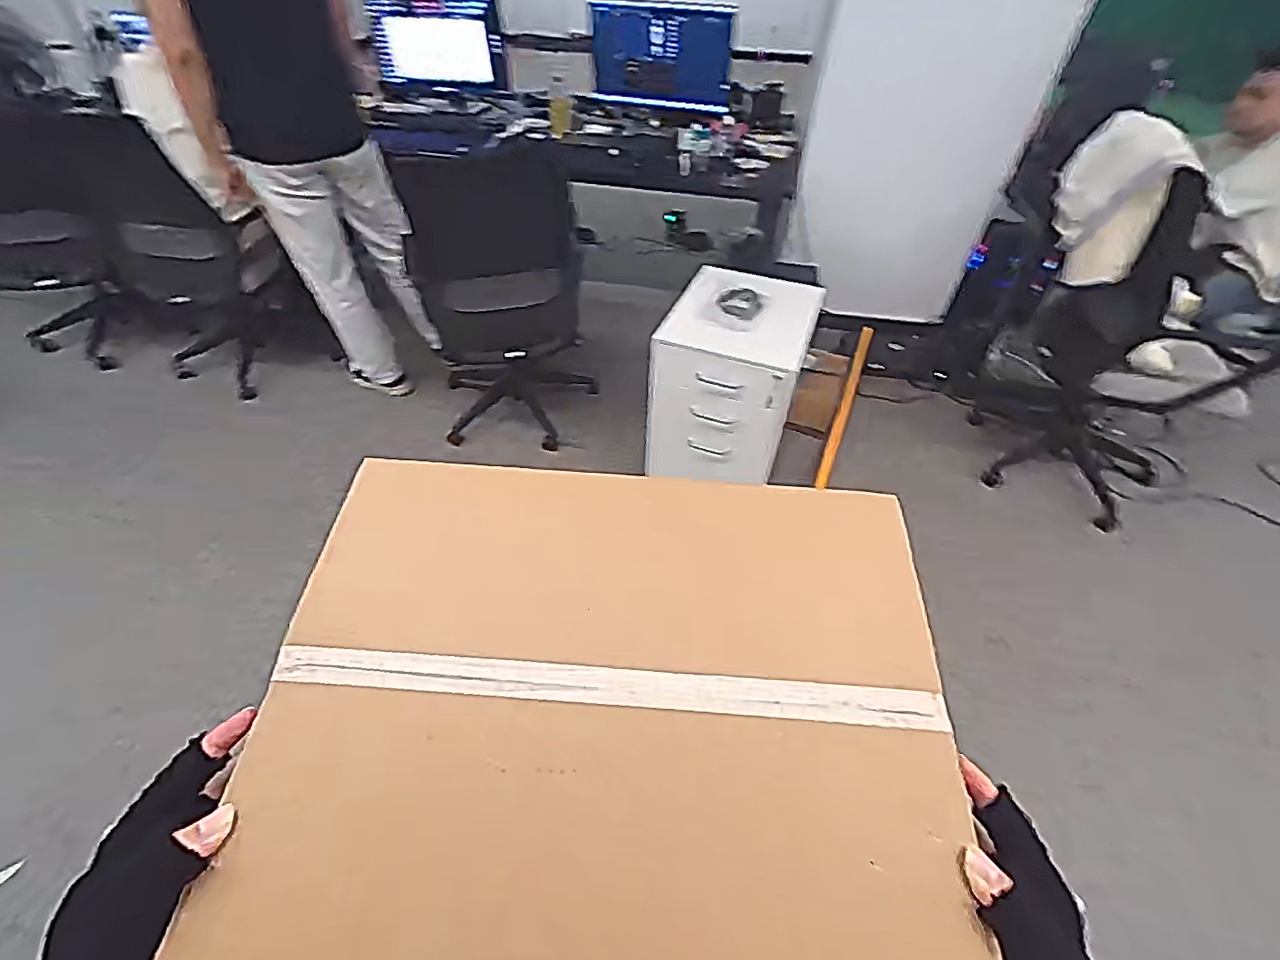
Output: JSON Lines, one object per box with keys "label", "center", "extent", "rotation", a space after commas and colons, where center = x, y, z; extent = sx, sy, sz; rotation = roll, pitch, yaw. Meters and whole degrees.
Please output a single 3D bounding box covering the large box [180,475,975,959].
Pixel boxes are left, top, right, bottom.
{"label": "large box", "center": [-0.027, 0.214, 0.465], "extent": [0.408, 0.320, 0.320], "rotation": [3, 58, 1]}
